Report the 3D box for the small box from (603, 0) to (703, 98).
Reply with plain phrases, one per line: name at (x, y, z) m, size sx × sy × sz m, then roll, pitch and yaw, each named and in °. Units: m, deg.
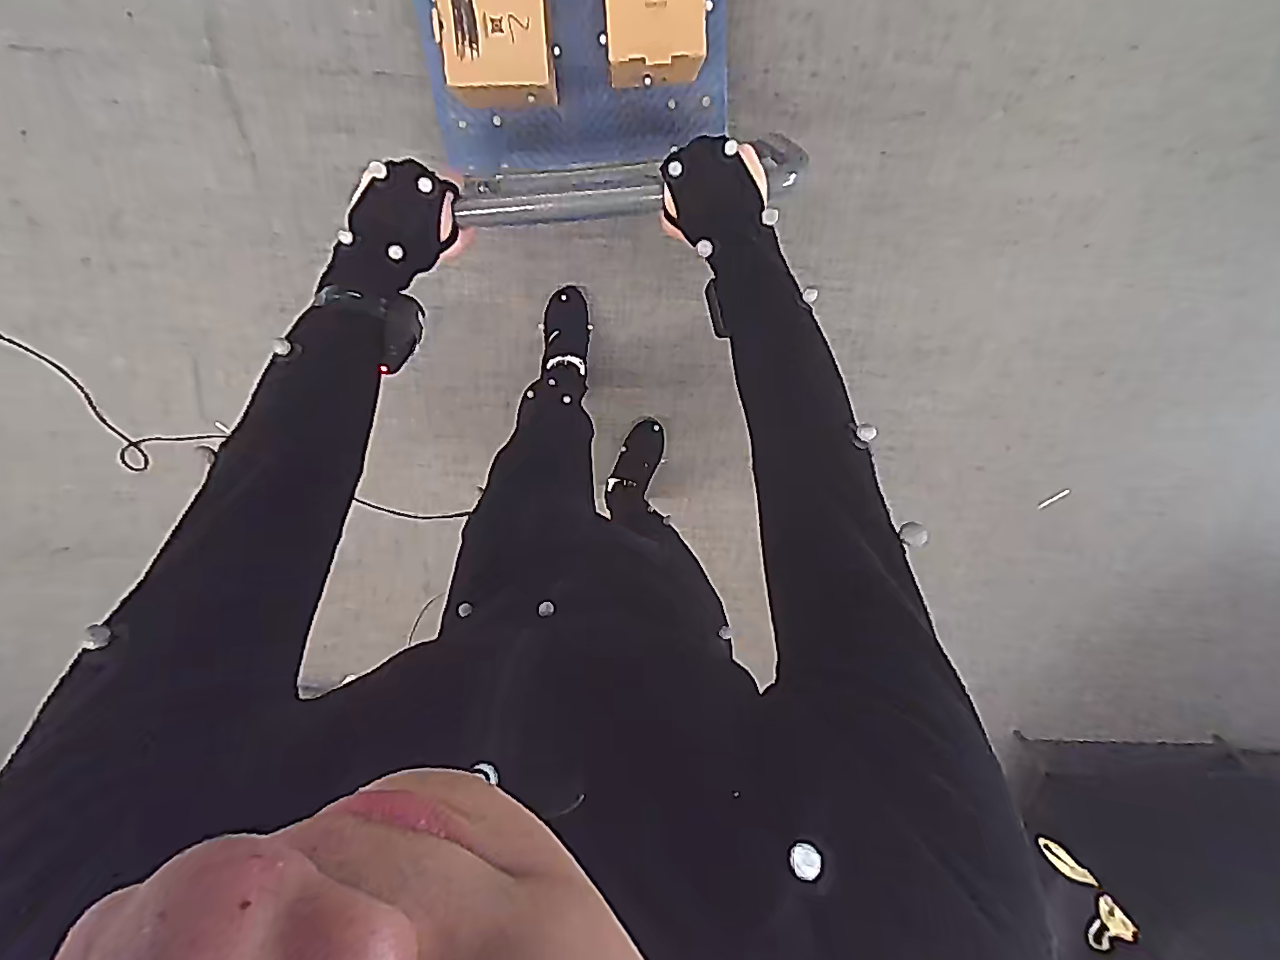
small box at (0.020, -0.822, 0.979) m, size 0.168 × 0.176 × 0.179 m, roll -5°, pitch 114°, yaw 0°
